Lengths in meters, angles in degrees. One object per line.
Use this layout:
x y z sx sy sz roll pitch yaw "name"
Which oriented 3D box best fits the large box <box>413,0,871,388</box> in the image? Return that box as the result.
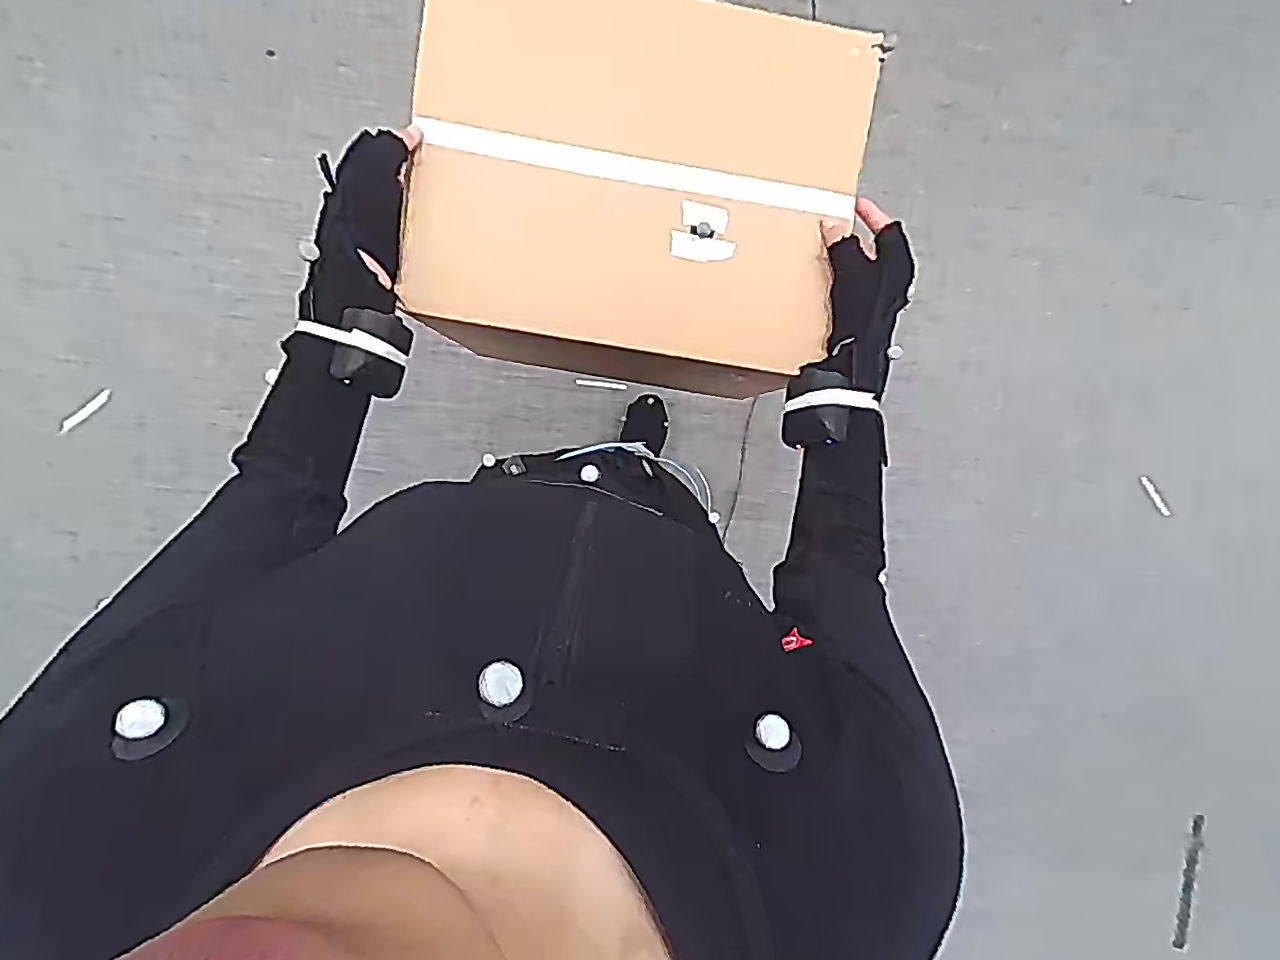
-0.008 -0.302 0.653 0.408 0.320 0.320 8 96 -4 "large box"
